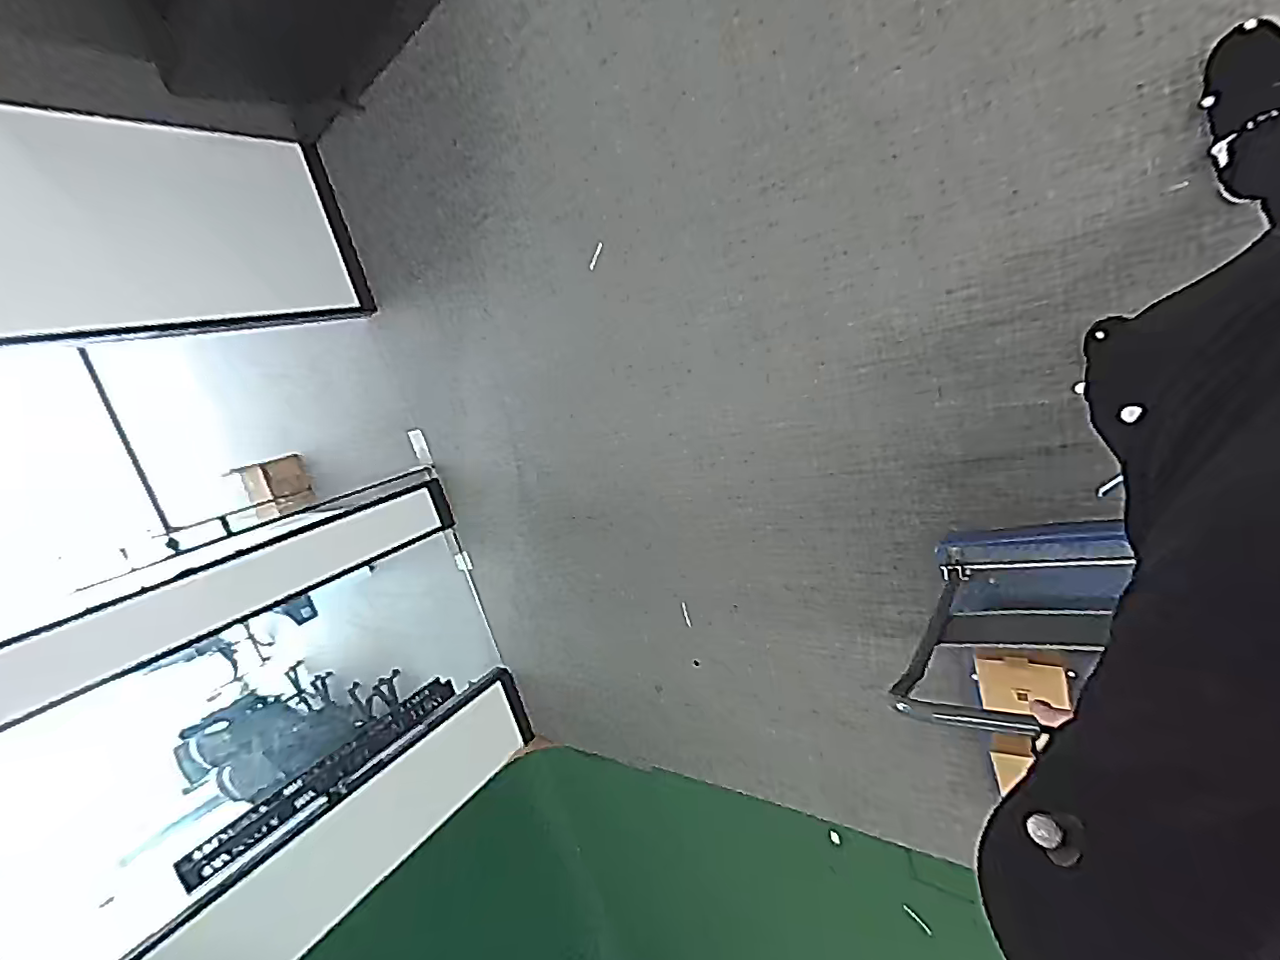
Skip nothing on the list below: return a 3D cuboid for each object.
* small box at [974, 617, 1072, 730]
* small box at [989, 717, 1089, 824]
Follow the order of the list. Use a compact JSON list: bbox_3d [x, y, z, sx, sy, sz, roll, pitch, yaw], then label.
[{"bbox_3d":[0.899,0.444,1.266,0.168,0.176,0.179,-8,103,40],"label":"small box"},{"bbox_3d":[0.968,0.680,1.310,0.168,0.176,0.179,-13,99,40],"label":"small box"}]
